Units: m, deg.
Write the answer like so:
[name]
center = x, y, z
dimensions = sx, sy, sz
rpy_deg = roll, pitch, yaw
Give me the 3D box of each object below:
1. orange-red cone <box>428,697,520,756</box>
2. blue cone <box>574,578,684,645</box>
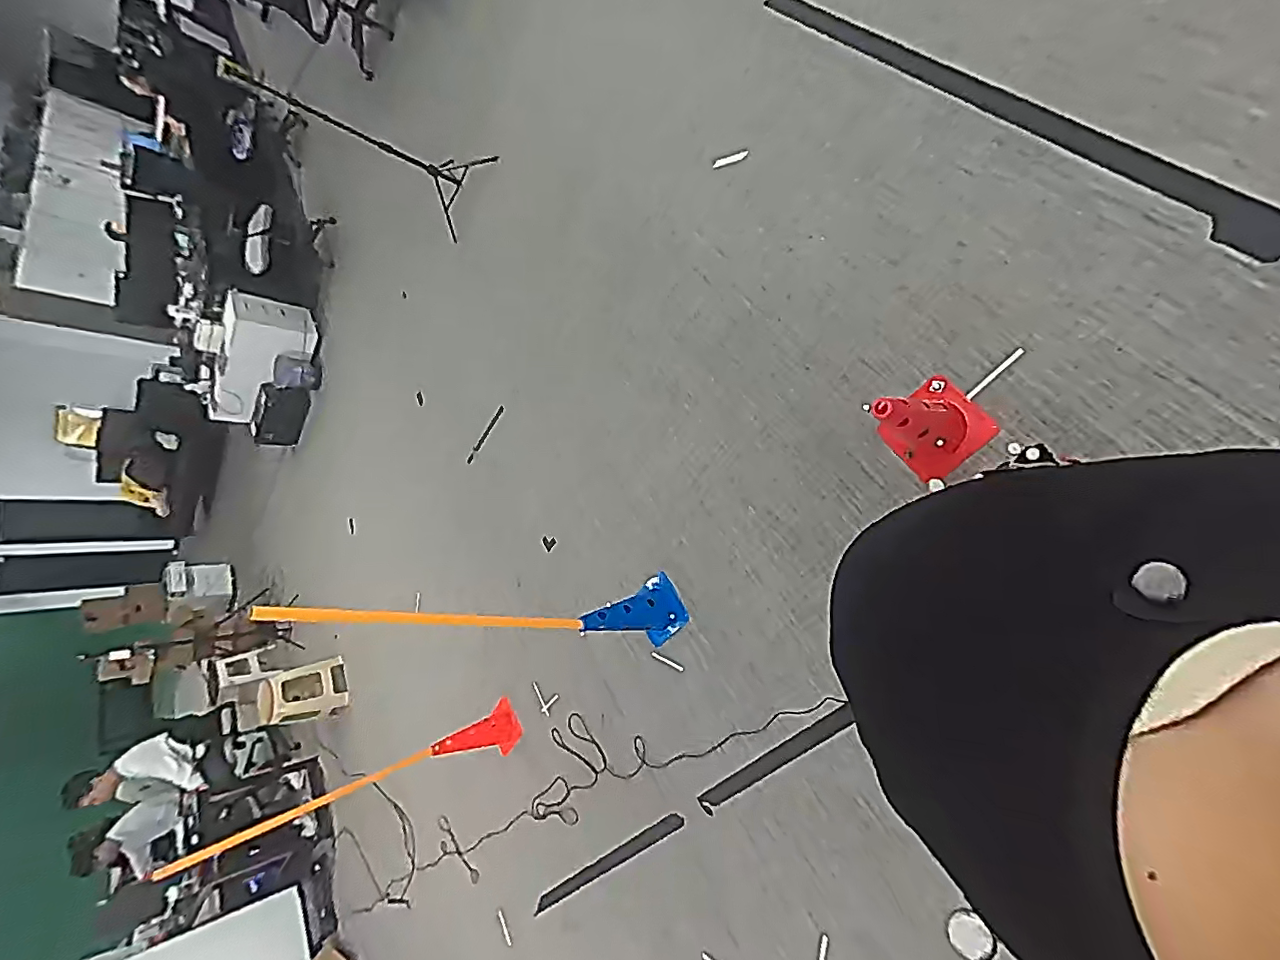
[orange-red cone]
center = -0.729, 1.107, 2.317
dimensions = 0.199, 0.360, 0.198
rpy_deg = 51, 121, 31
[blue cone]
center = -0.050, 0.443, 1.741
dimensions = 0.192, 0.380, 0.193
rpy_deg = -48, 57, 31
